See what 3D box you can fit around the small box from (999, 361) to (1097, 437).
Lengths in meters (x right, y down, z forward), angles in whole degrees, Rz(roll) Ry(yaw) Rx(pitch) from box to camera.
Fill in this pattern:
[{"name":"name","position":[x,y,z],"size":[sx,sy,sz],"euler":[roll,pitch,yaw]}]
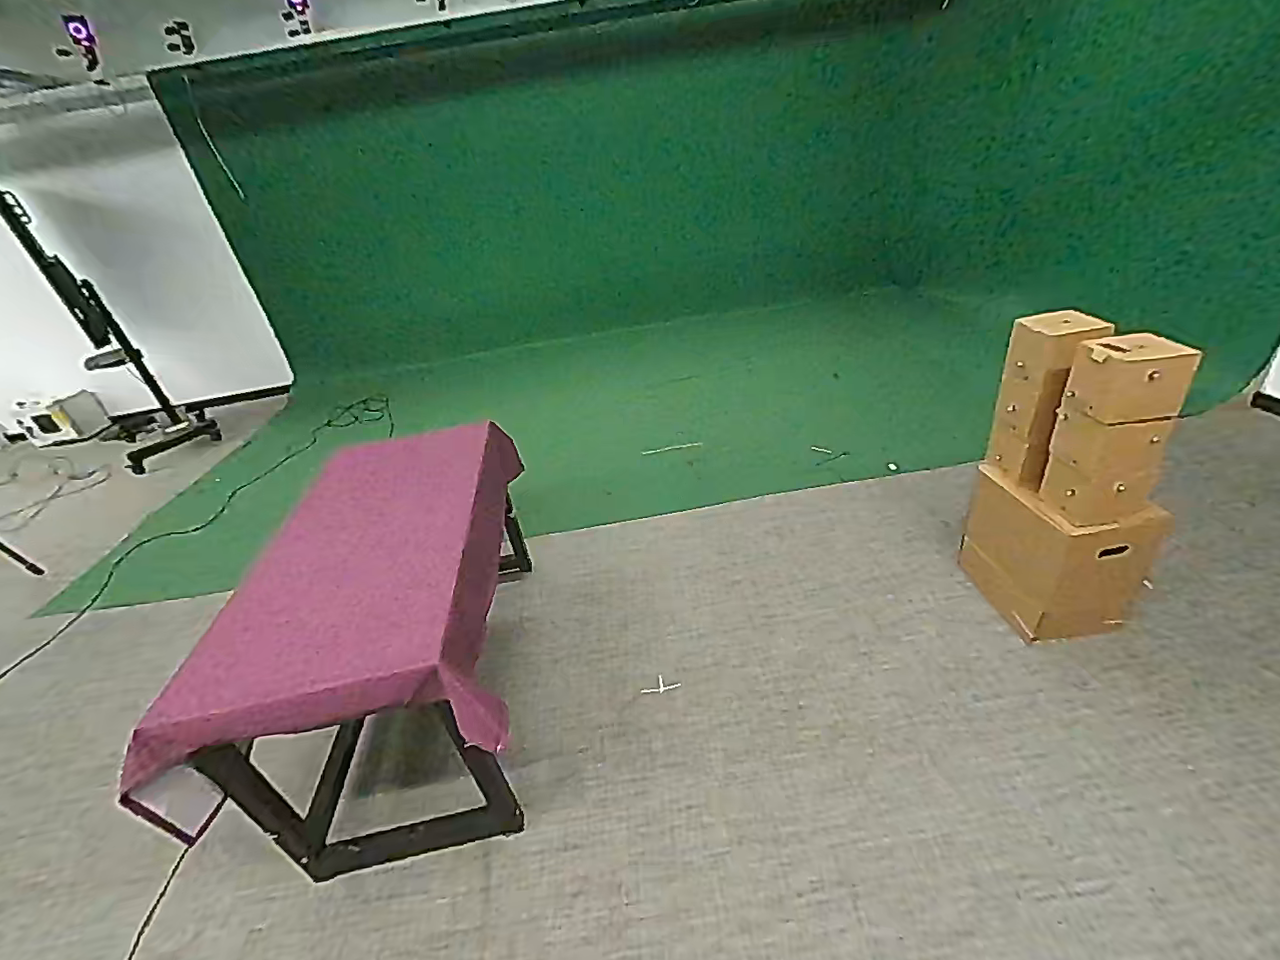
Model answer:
[{"name":"small box","position":[1.246,-0.249,1.670],"size":[0.179,0.176,0.168],"euler":[-11,33,2]}]

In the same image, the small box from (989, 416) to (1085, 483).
[{"name":"small box","position":[1.278,-0.112,1.756],"size":[0.179,0.176,0.168],"euler":[-11,33,1]}]

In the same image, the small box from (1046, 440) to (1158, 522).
[{"name":"small box","position":[1.310,0.006,1.553],"size":[0.179,0.176,0.168],"euler":[-8,31,3]}]
